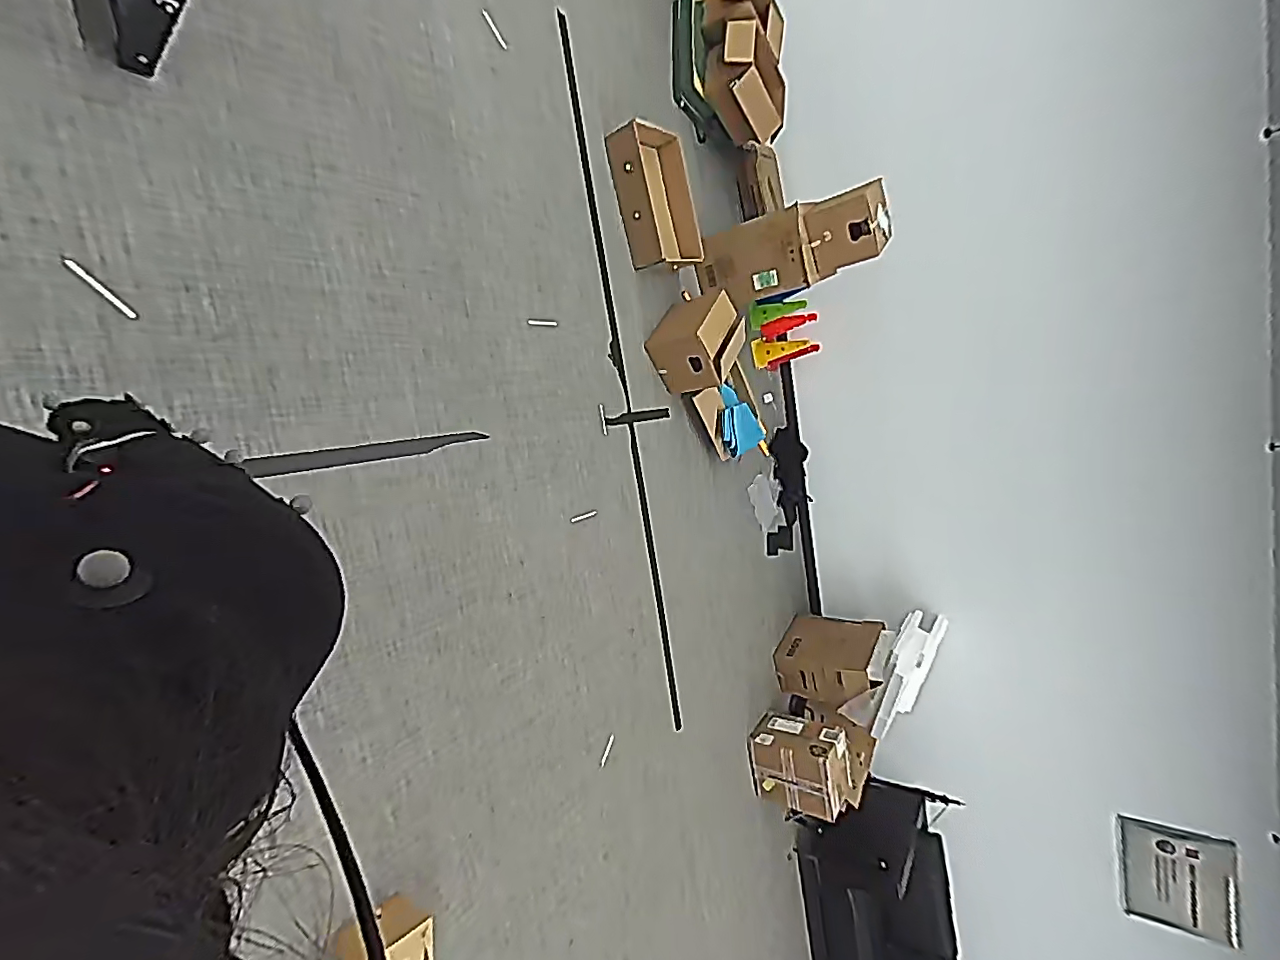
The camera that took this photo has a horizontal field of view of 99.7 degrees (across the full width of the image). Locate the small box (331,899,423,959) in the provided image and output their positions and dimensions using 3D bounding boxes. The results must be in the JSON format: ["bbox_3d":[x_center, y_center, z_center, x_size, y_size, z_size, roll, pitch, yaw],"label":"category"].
[{"bbox_3d":[-0.702,1.274,1.437,0.179,0.176,0.168,4,84,-53],"label":"small box"}]
